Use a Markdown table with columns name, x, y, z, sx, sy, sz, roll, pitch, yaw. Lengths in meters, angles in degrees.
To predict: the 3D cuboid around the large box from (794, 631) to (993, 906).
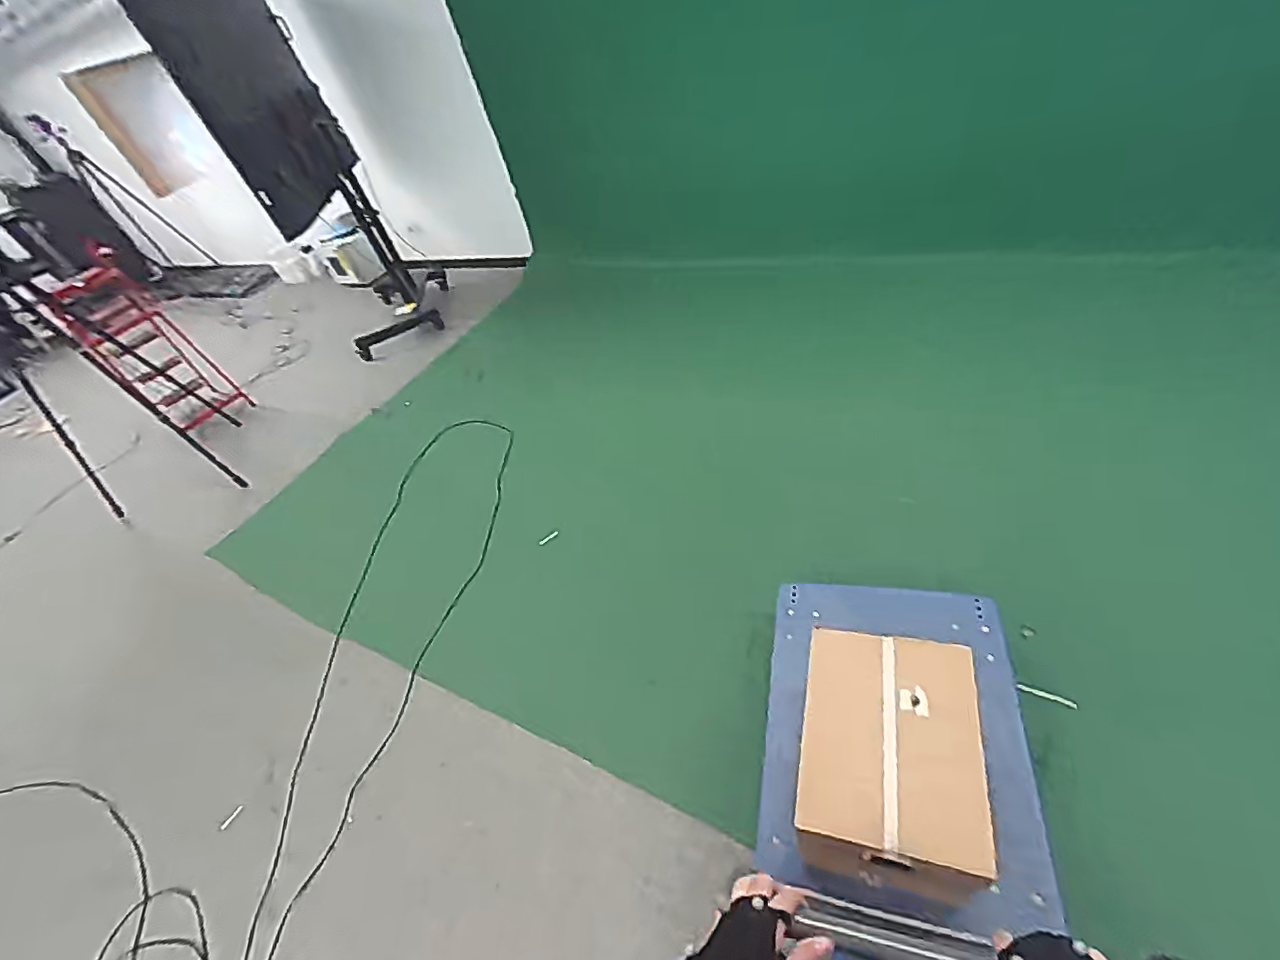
| name | x | y | z | sx | sy | sz | roll | pitch | yaw |
| --- | --- | --- | --- | --- | --- | --- | --- | --- | --- |
| large box | 0.511 | 0.589 | 1.138 | 0.320 | 0.320 | 0.408 | 2 | 46 | 22 |
